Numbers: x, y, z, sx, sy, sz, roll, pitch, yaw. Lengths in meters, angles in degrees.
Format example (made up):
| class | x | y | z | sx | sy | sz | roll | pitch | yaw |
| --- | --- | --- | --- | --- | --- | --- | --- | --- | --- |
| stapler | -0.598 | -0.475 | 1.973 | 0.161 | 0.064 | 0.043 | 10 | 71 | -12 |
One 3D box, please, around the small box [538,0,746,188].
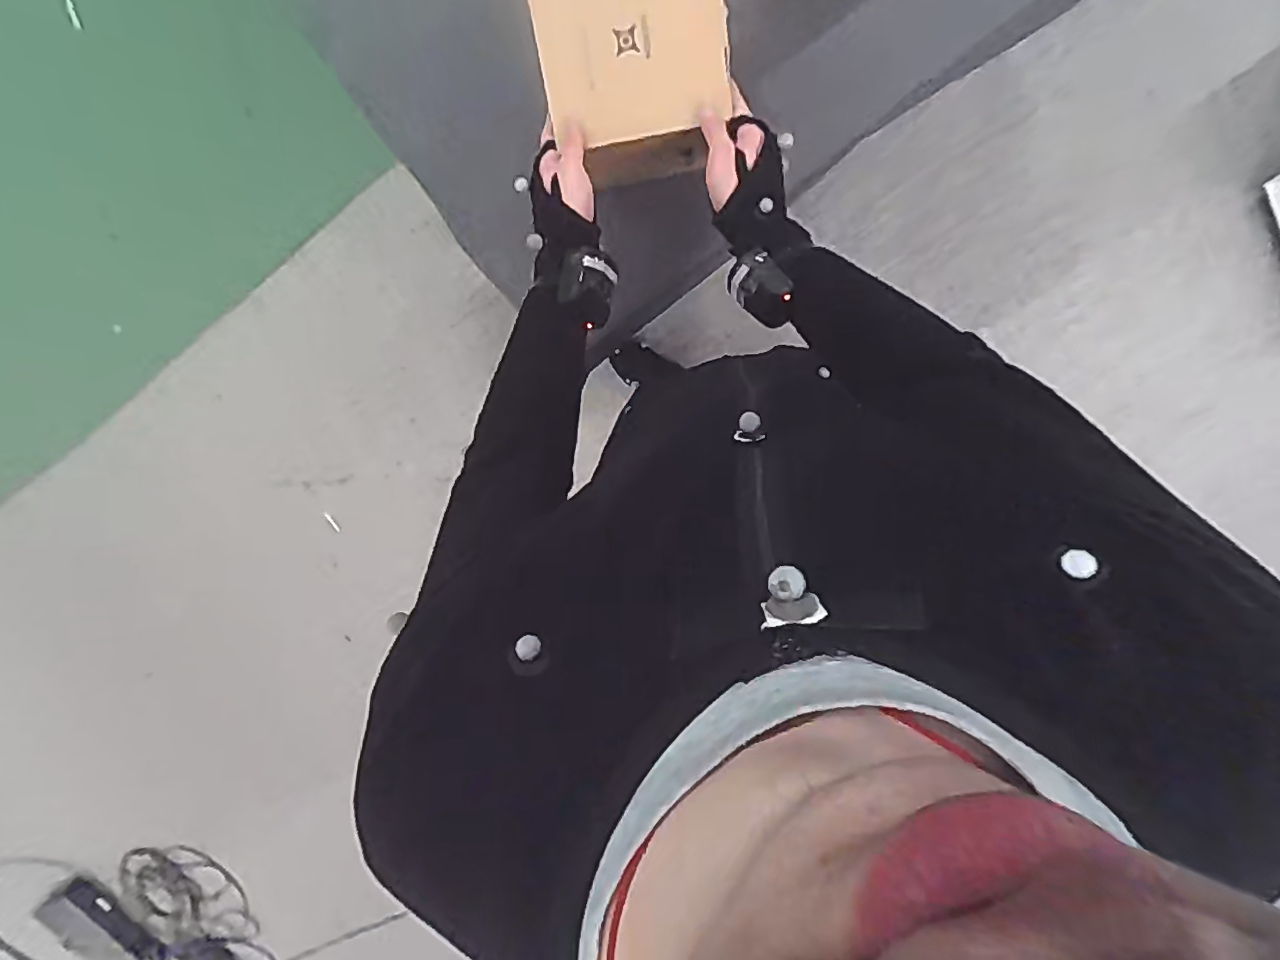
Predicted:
| class | x | y | z | sx | sy | sz | roll | pitch | yaw |
| --- | --- | --- | --- | --- | --- | --- | --- | --- | --- |
| small box | 0.003 | -0.424 | 0.559 | 0.179 | 0.176 | 0.168 | -9 | 105 | 5 |
